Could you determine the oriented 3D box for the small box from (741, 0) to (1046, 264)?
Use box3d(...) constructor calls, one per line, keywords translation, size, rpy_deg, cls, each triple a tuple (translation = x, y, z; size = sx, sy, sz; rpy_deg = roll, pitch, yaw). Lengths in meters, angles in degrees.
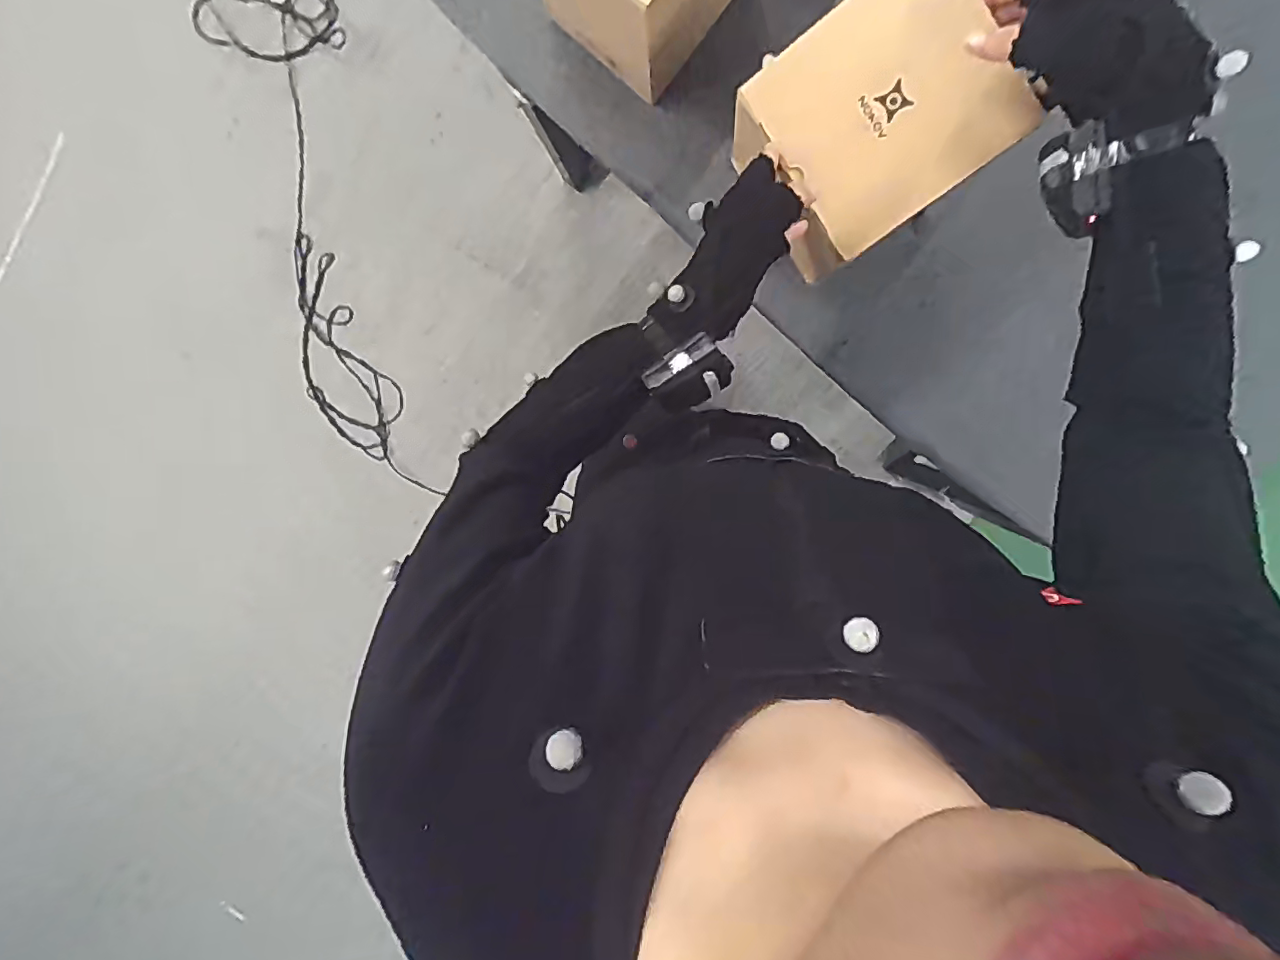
box3d(translation=(0.206, -0.325, 0.498), size=(0.179, 0.176, 0.168), rpy_deg=(-34, 98, 16), cls="small box")
